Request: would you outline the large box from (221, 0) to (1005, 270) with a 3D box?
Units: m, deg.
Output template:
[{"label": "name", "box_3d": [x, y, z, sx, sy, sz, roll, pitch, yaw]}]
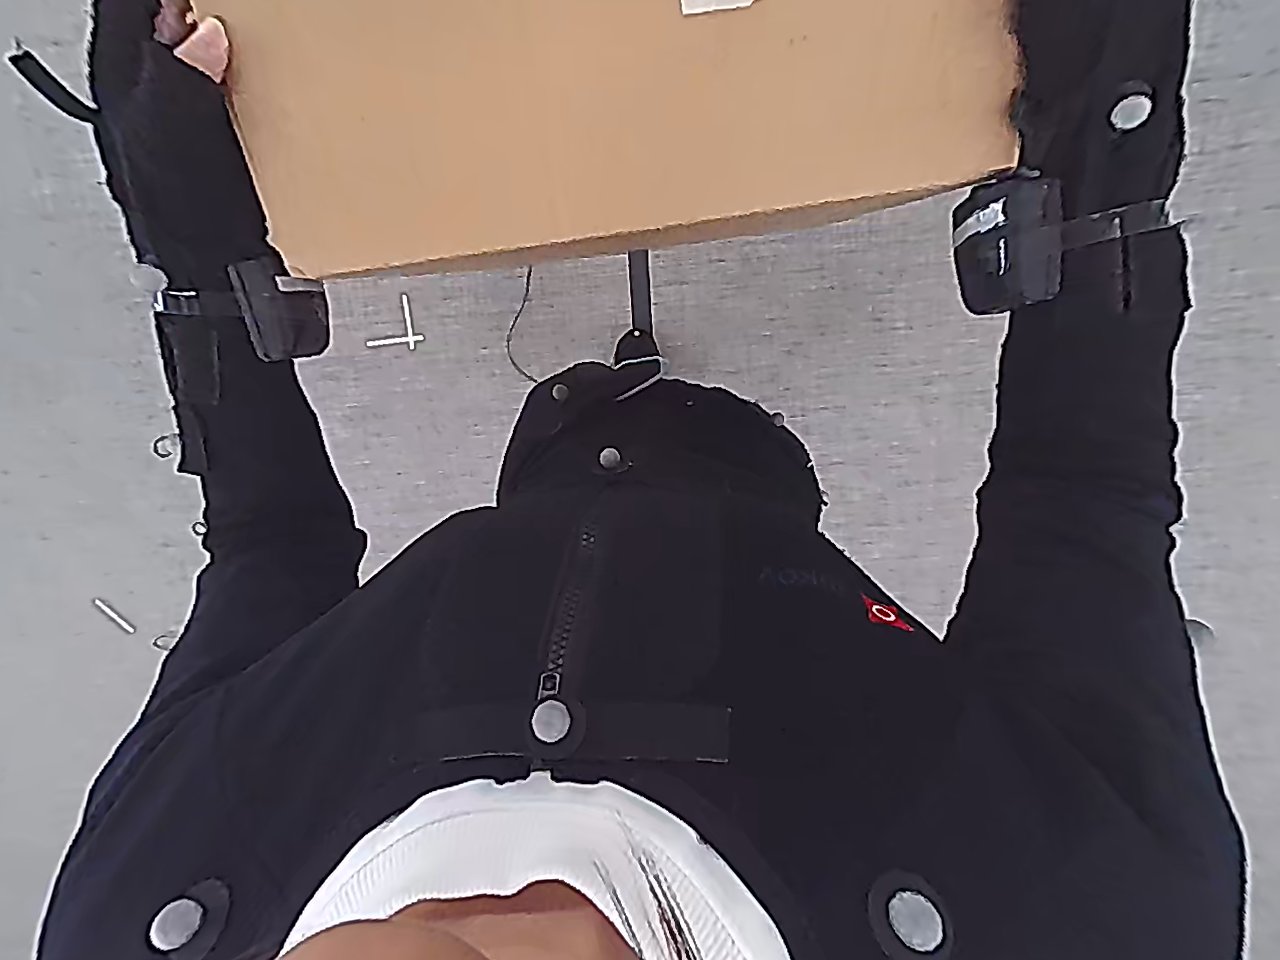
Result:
[{"label": "large box", "box_3d": [-0.020, -0.348, 0.396, 0.408, 0.320, 0.320, -6, 112, 5]}]
